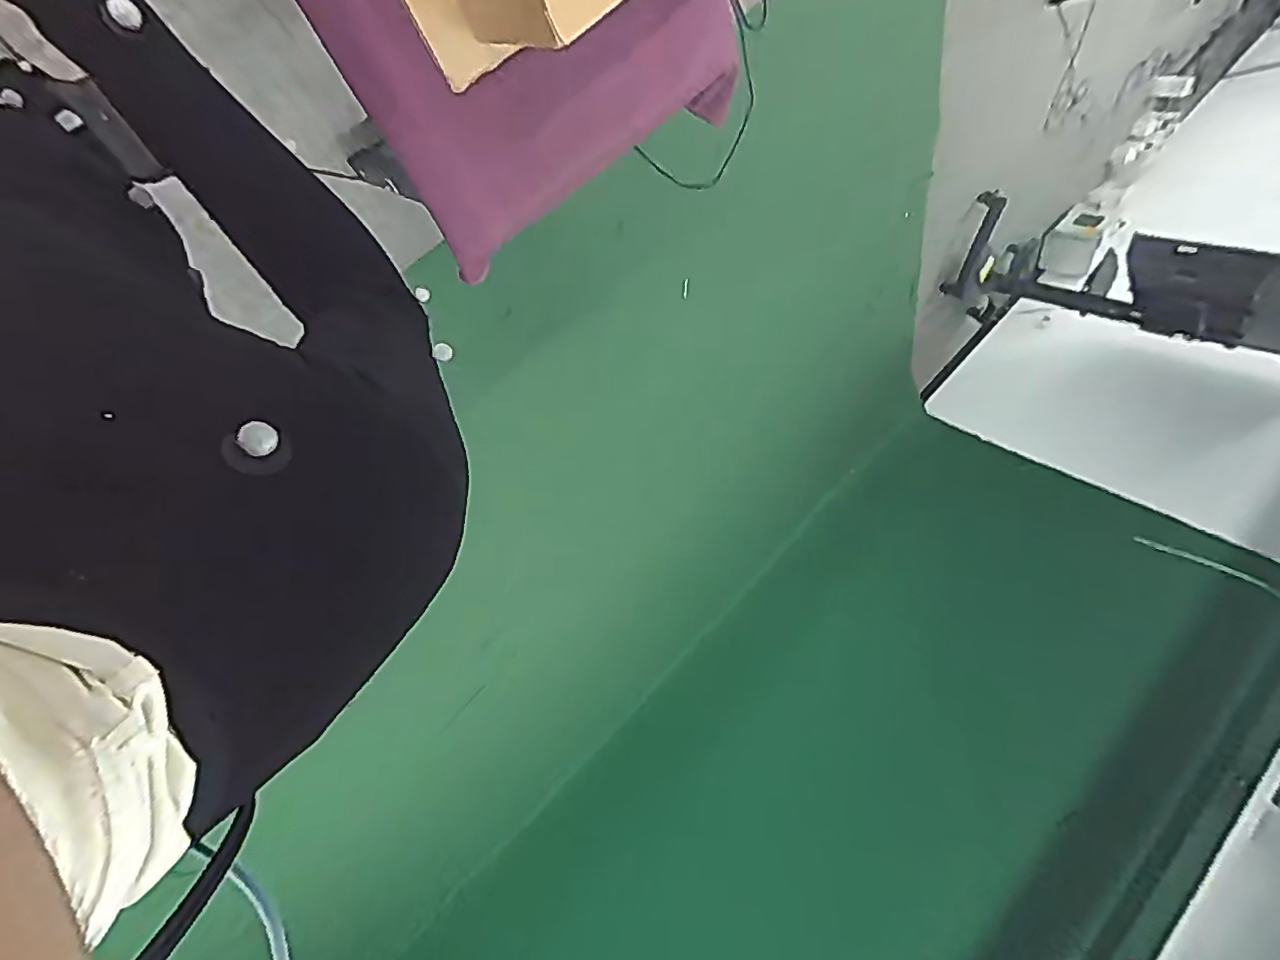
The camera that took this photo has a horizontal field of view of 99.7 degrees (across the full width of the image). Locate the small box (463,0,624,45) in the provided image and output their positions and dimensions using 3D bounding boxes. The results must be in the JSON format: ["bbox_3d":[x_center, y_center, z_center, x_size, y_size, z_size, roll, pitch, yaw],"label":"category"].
[{"bbox_3d":[-0.089,-0.554,0.508,0.179,0.176,0.168,-45,144,-9],"label":"small box"}]
